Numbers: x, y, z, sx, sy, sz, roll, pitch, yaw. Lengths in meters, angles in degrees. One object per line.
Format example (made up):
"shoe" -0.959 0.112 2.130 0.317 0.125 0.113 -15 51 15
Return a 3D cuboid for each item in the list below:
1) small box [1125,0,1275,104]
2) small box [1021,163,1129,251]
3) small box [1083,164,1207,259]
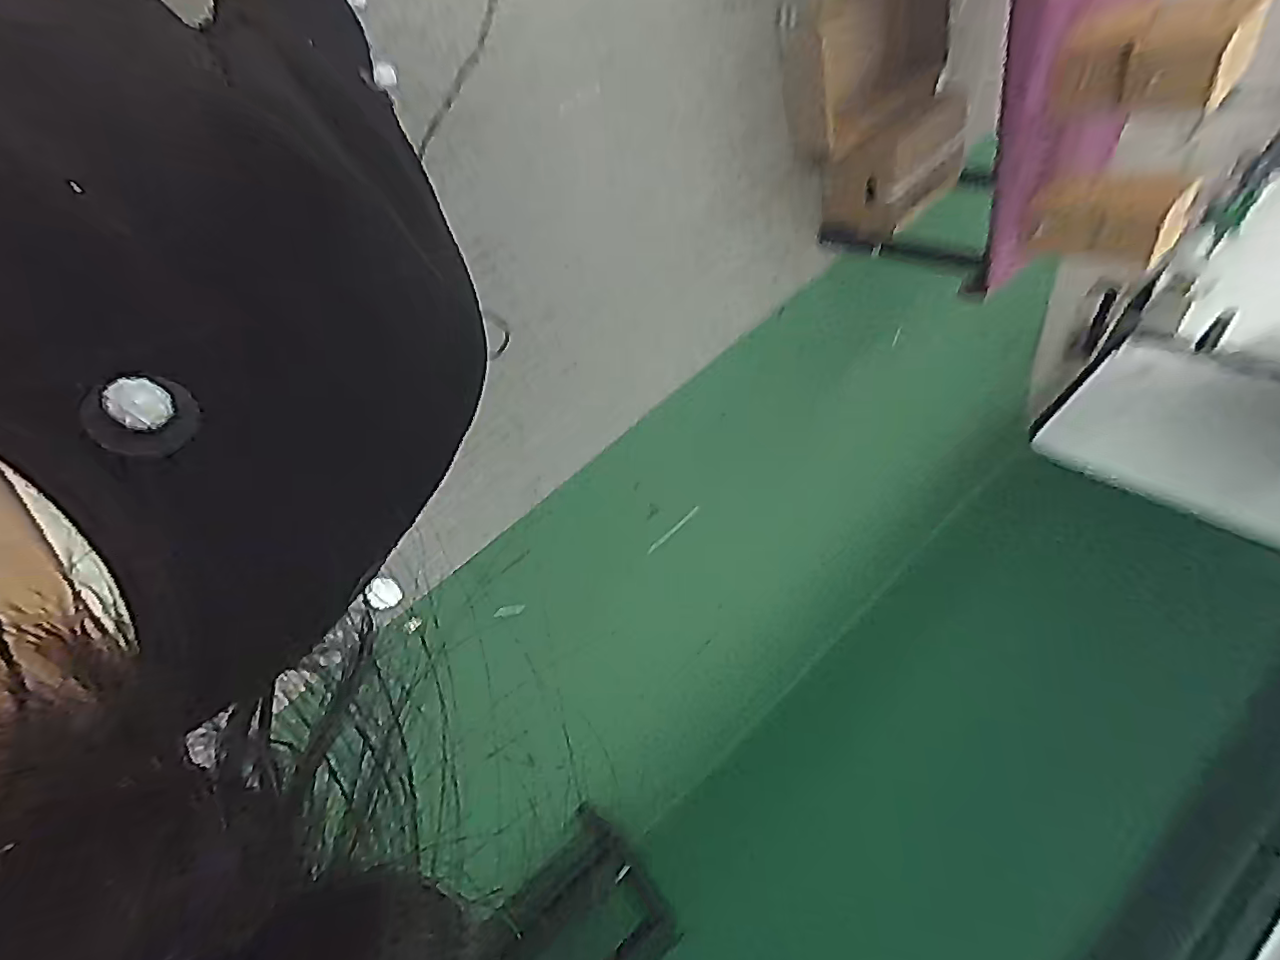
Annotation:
"small box" 1.228 -0.965 1.189 0.179 0.176 0.168 -47 137 -6
"small box" 1.260 -0.800 1.575 0.179 0.176 0.168 -40 136 -13
"small box" 1.355 -0.731 1.462 0.179 0.176 0.168 -42 136 -12
